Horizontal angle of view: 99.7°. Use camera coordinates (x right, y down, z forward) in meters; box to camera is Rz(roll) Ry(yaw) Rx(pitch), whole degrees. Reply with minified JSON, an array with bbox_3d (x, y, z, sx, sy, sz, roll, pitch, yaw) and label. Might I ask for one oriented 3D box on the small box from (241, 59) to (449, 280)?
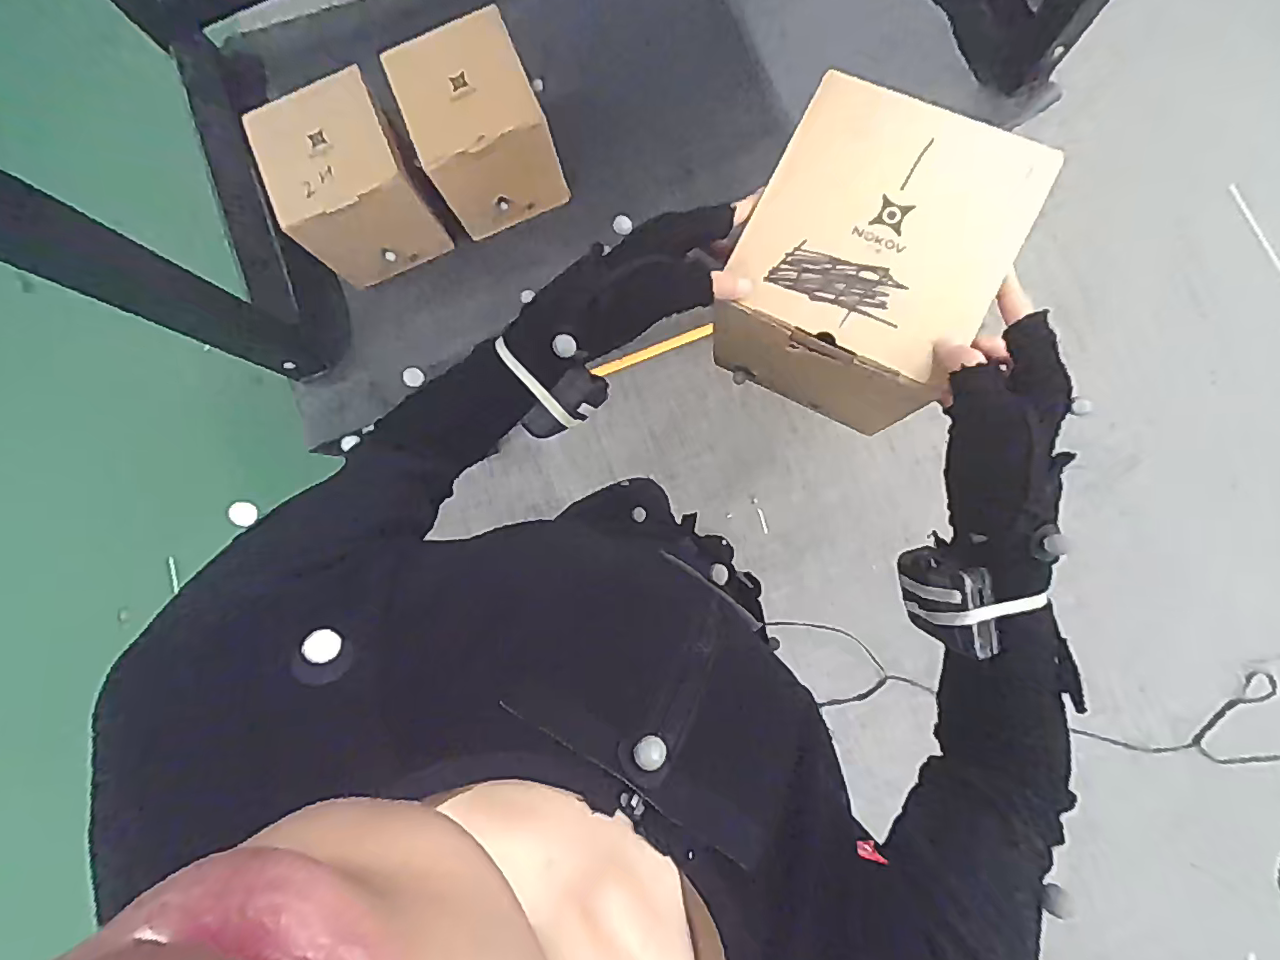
[{"bbox_3d":[-0.397,-0.417,0.754,0.168,0.176,0.179,-23,83,2],"label":"small box"}]
